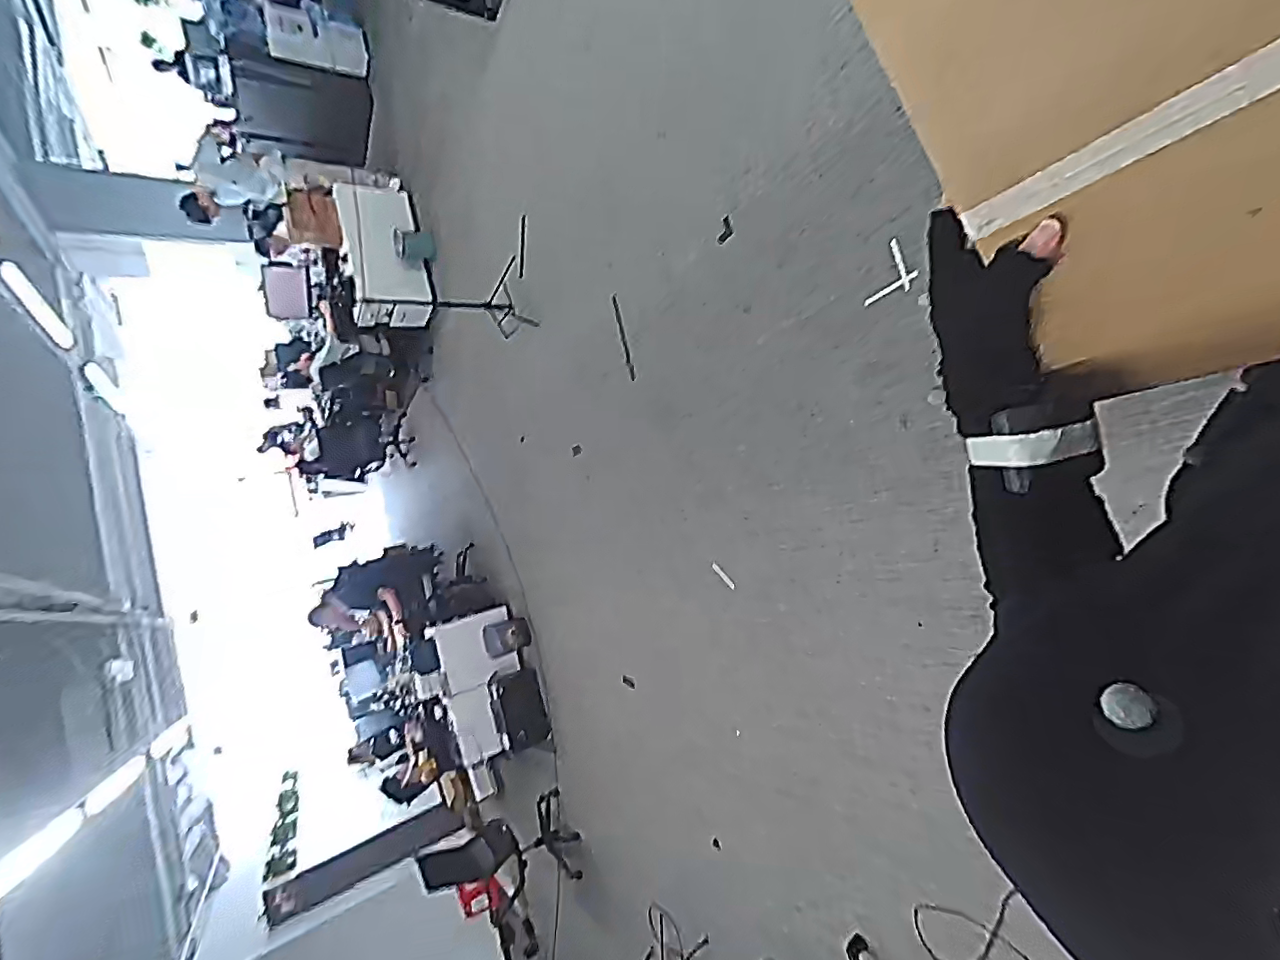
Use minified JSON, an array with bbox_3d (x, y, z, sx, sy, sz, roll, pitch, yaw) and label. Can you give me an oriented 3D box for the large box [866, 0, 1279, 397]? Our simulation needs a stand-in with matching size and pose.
[{"bbox_3d":[0.419,-0.307,0.294,0.320,0.320,0.408,50,145,-16],"label":"large box"}]
